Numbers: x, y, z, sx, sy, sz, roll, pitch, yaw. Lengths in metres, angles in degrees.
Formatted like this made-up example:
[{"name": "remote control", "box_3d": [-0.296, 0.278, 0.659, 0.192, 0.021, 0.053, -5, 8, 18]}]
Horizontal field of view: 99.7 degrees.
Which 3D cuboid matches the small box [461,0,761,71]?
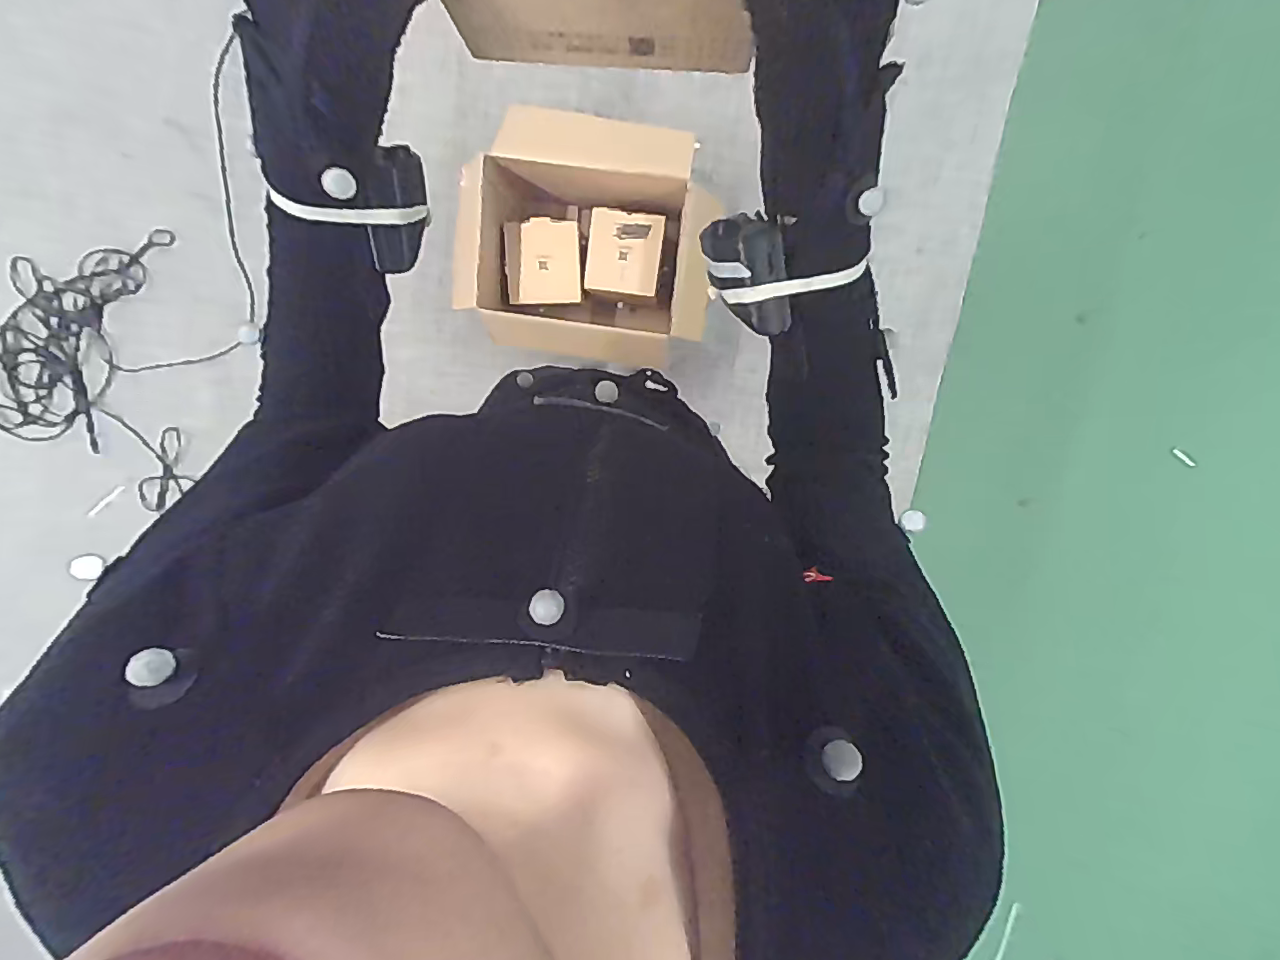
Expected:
[{"name": "small box", "box_3d": [-0.014, -0.323, 0.239, 0.168, 0.176, 0.179, 5, 97, 2]}]
